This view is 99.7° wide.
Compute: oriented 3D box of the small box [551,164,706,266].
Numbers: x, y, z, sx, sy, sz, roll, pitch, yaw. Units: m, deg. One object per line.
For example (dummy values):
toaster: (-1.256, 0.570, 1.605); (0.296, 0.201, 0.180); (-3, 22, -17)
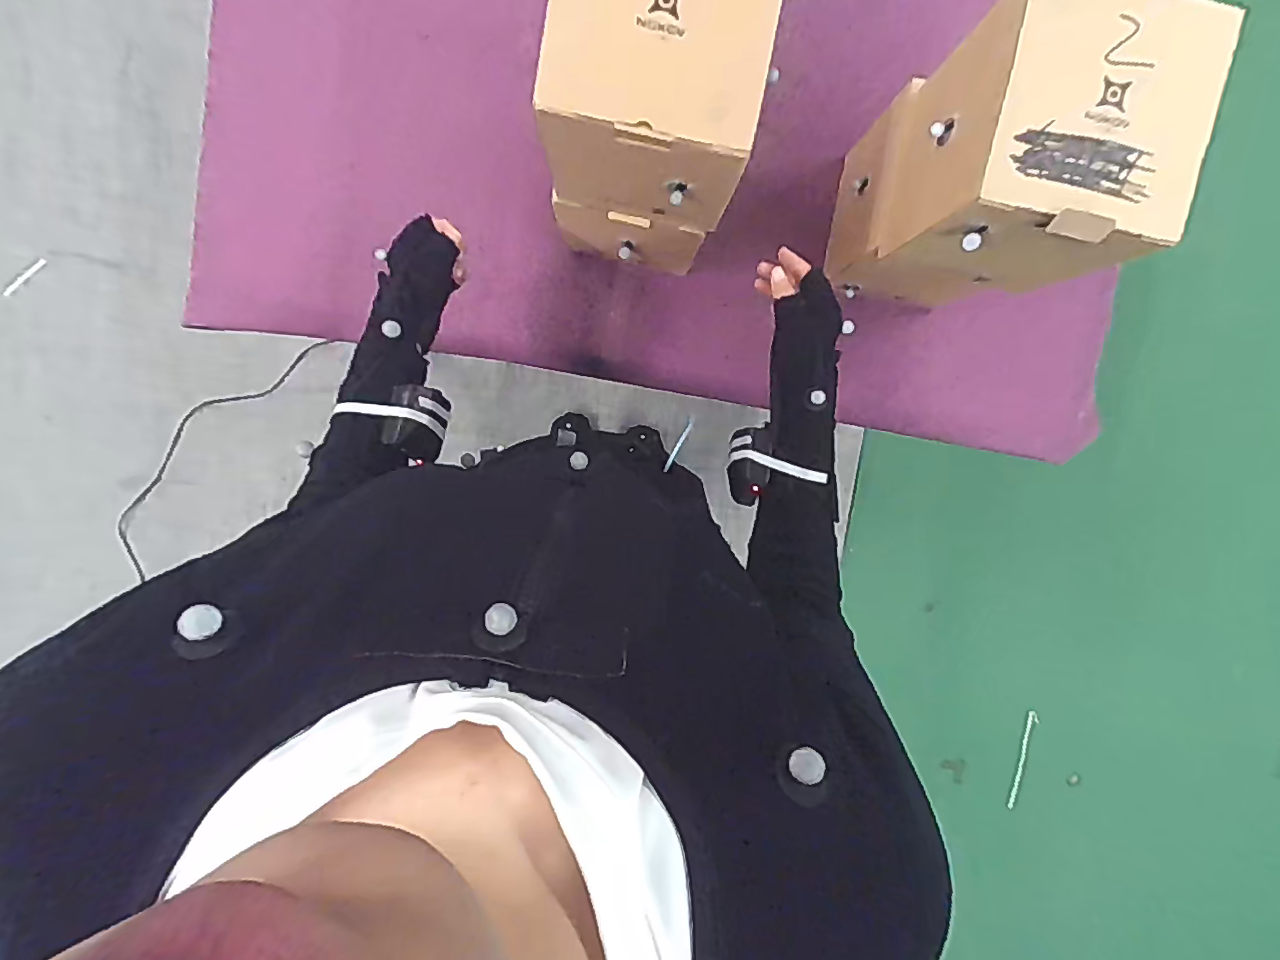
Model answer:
small box: (0.004, -0.365, 0.622); (0.168, 0.176, 0.179); (12, 97, -5)

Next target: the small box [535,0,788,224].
small box: (0.018, -0.345, 0.460); (0.168, 0.176, 0.179); (12, 97, -4)

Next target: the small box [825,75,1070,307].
small box: (0.342, -0.319, 0.641); (0.168, 0.176, 0.179); (13, 97, -6)
